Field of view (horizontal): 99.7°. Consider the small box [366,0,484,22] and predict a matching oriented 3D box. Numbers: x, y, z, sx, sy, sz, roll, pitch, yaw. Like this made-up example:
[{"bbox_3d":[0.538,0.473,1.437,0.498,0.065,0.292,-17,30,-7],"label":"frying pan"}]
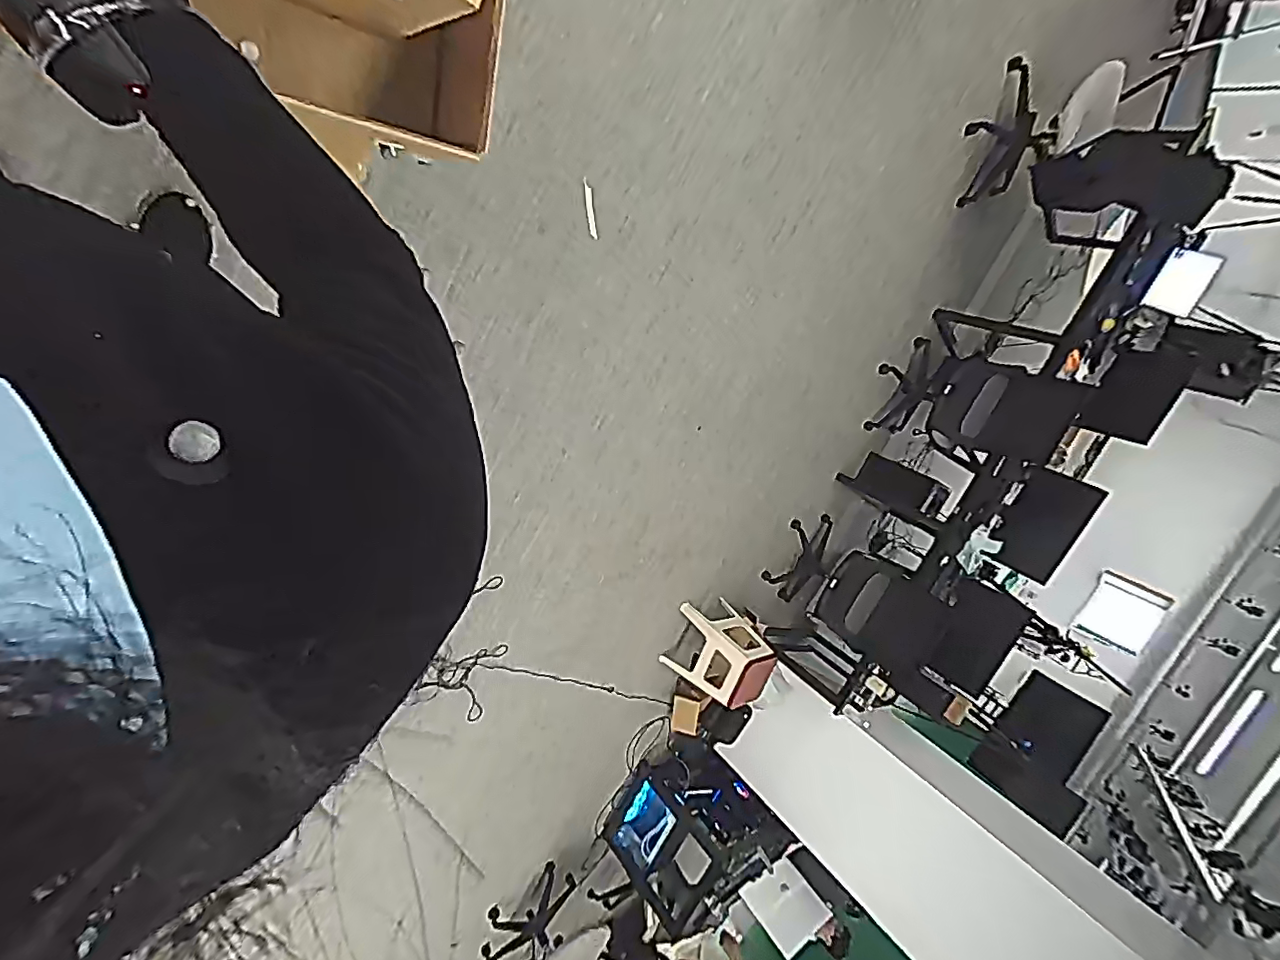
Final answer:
[{"bbox_3d":[-0.197,-0.476,0.388,0.179,0.176,0.168,11,108,-45],"label":"small box"}]
